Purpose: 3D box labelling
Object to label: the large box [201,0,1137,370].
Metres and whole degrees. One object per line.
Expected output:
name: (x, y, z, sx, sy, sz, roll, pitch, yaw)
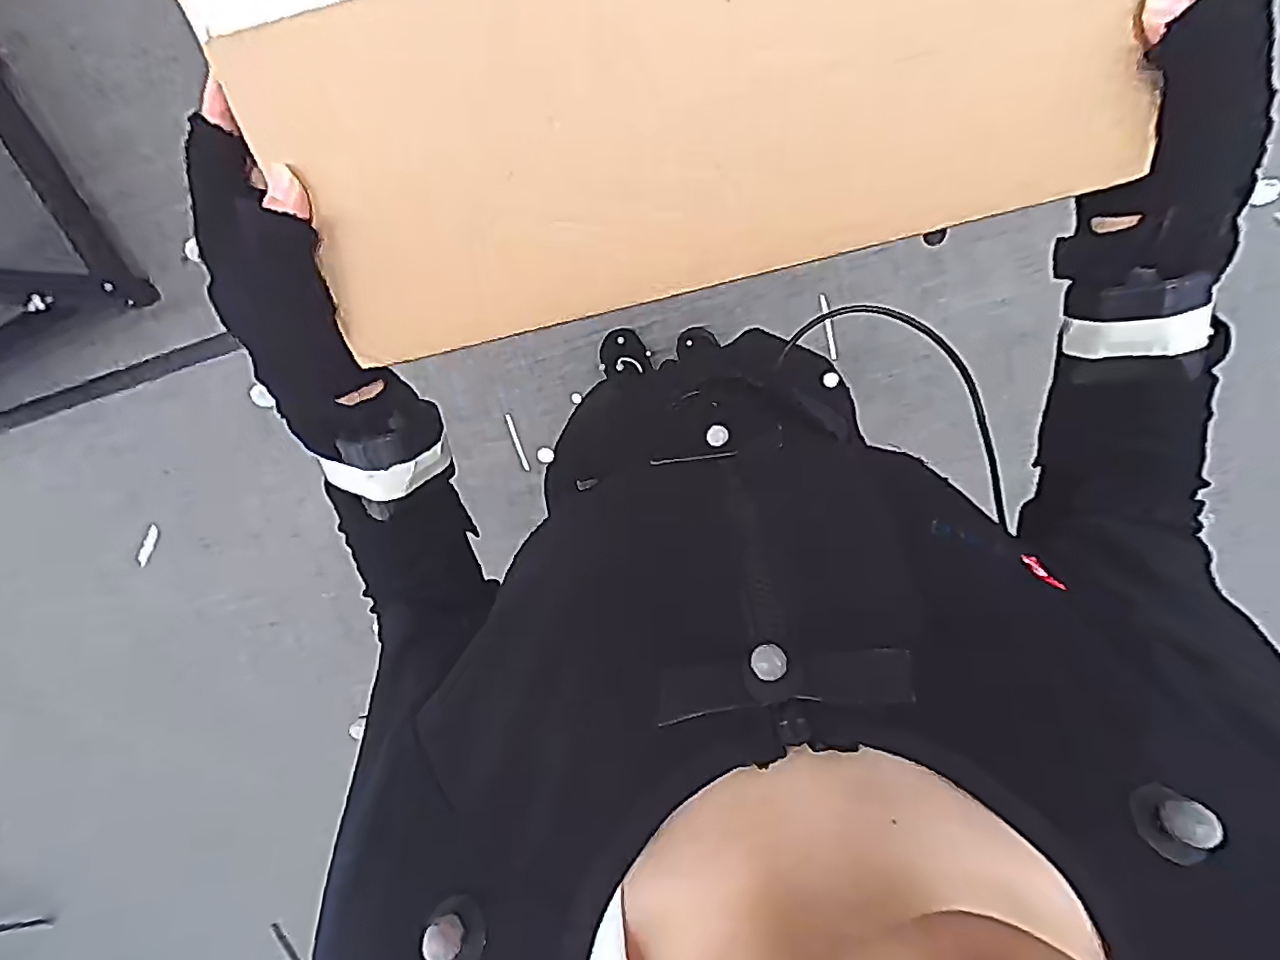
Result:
large box: (0.006, -0.305, 0.350, 0.408, 0.320, 0.320, -12, 117, 5)
